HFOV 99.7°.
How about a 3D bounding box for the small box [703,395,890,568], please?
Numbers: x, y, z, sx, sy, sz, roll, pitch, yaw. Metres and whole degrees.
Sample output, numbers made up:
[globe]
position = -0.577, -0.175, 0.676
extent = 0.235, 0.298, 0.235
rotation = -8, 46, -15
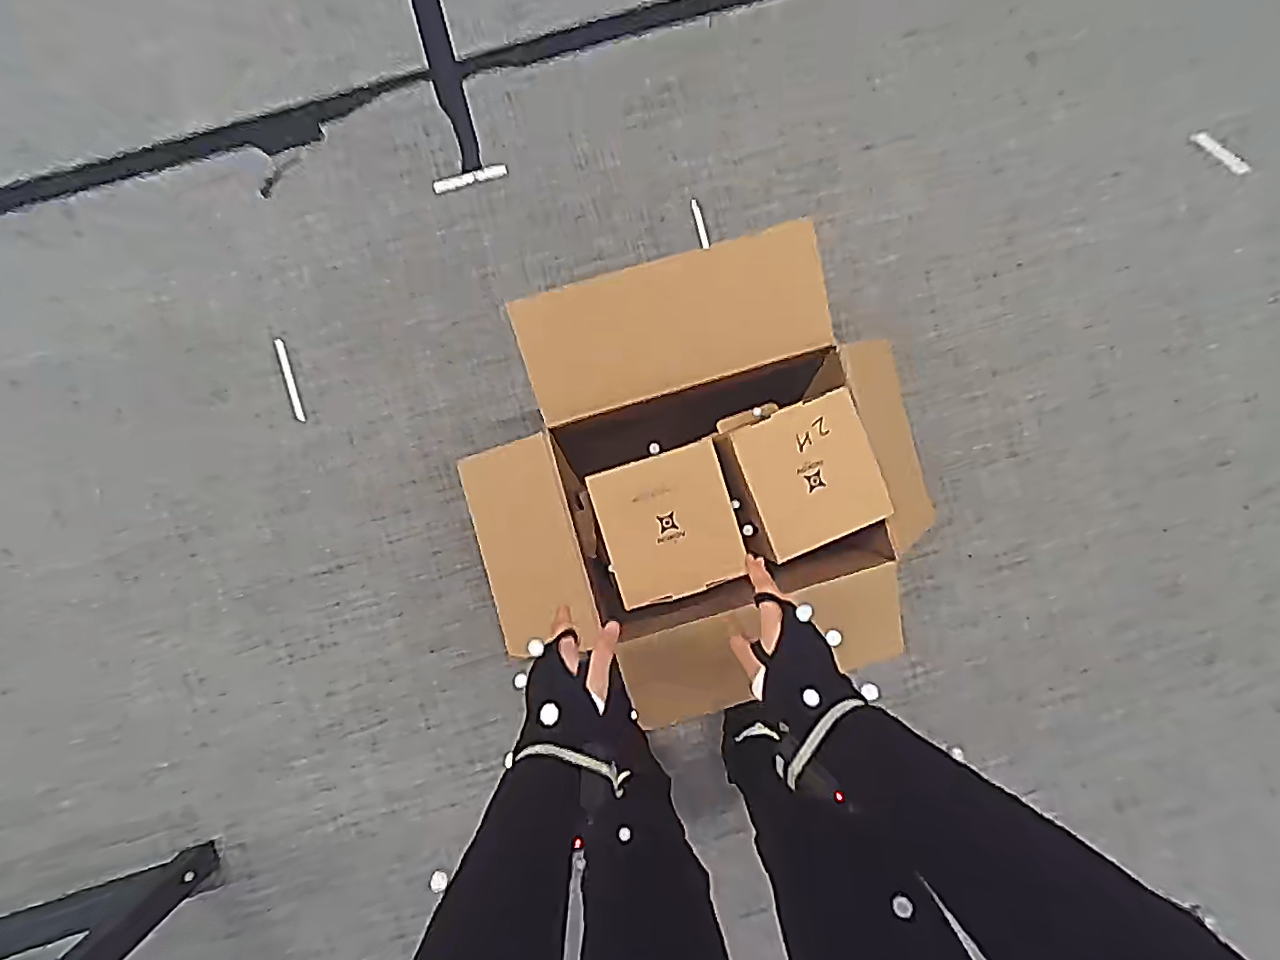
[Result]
[small box]
position = 0.204, 0.000, 0.752
extent = 0.168, 0.176, 0.179
rotation = -22, 92, -5
